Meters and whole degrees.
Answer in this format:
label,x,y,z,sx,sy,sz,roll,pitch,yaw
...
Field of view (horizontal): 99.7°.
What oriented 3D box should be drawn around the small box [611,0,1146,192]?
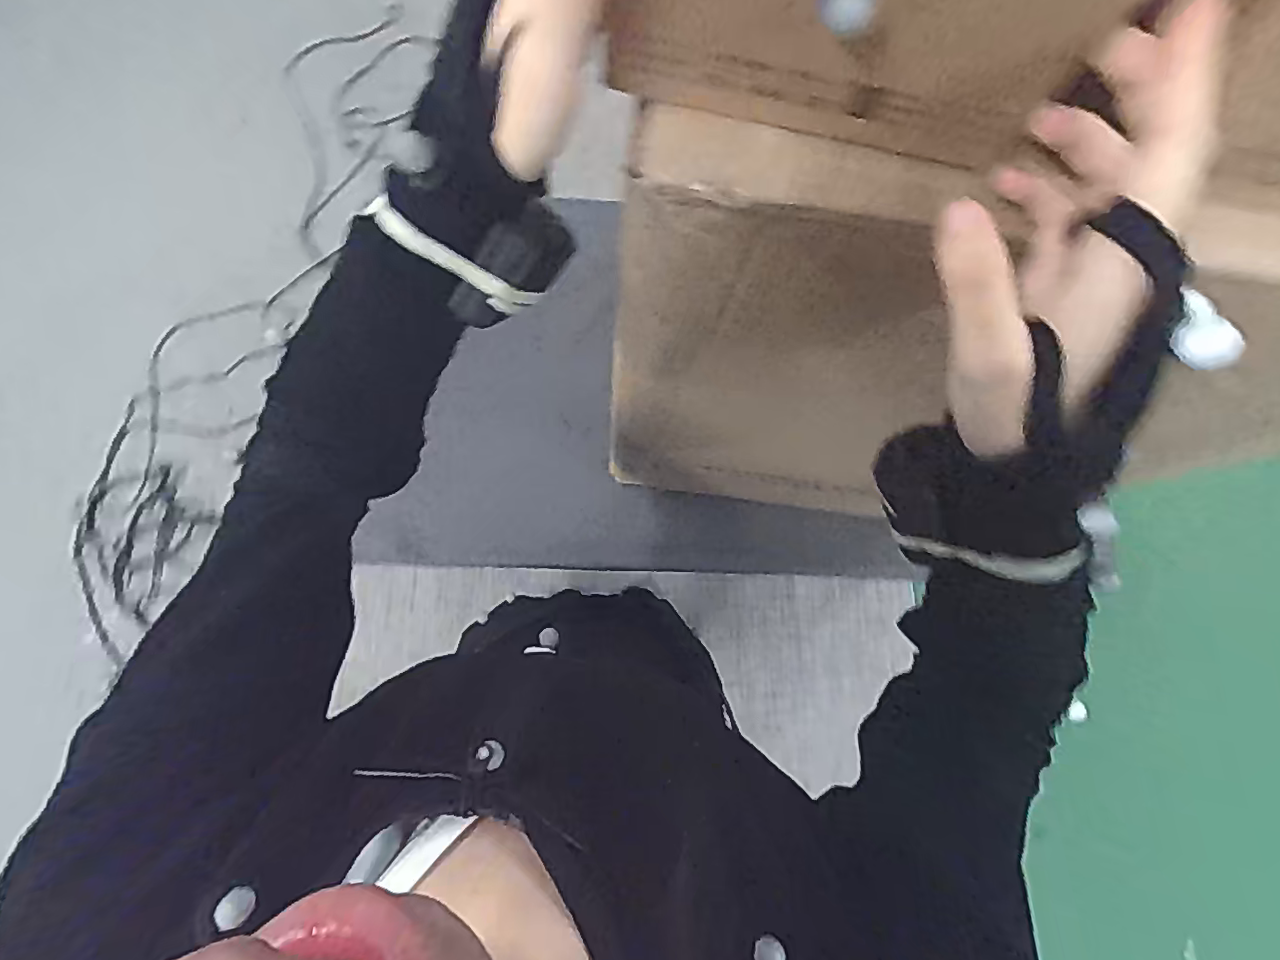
label,x,y,z,sx,sy,sz,roll,pitch,yaw
small box,0.084,-0.235,0.168,0.168,0.176,0.179,12,81,-1
